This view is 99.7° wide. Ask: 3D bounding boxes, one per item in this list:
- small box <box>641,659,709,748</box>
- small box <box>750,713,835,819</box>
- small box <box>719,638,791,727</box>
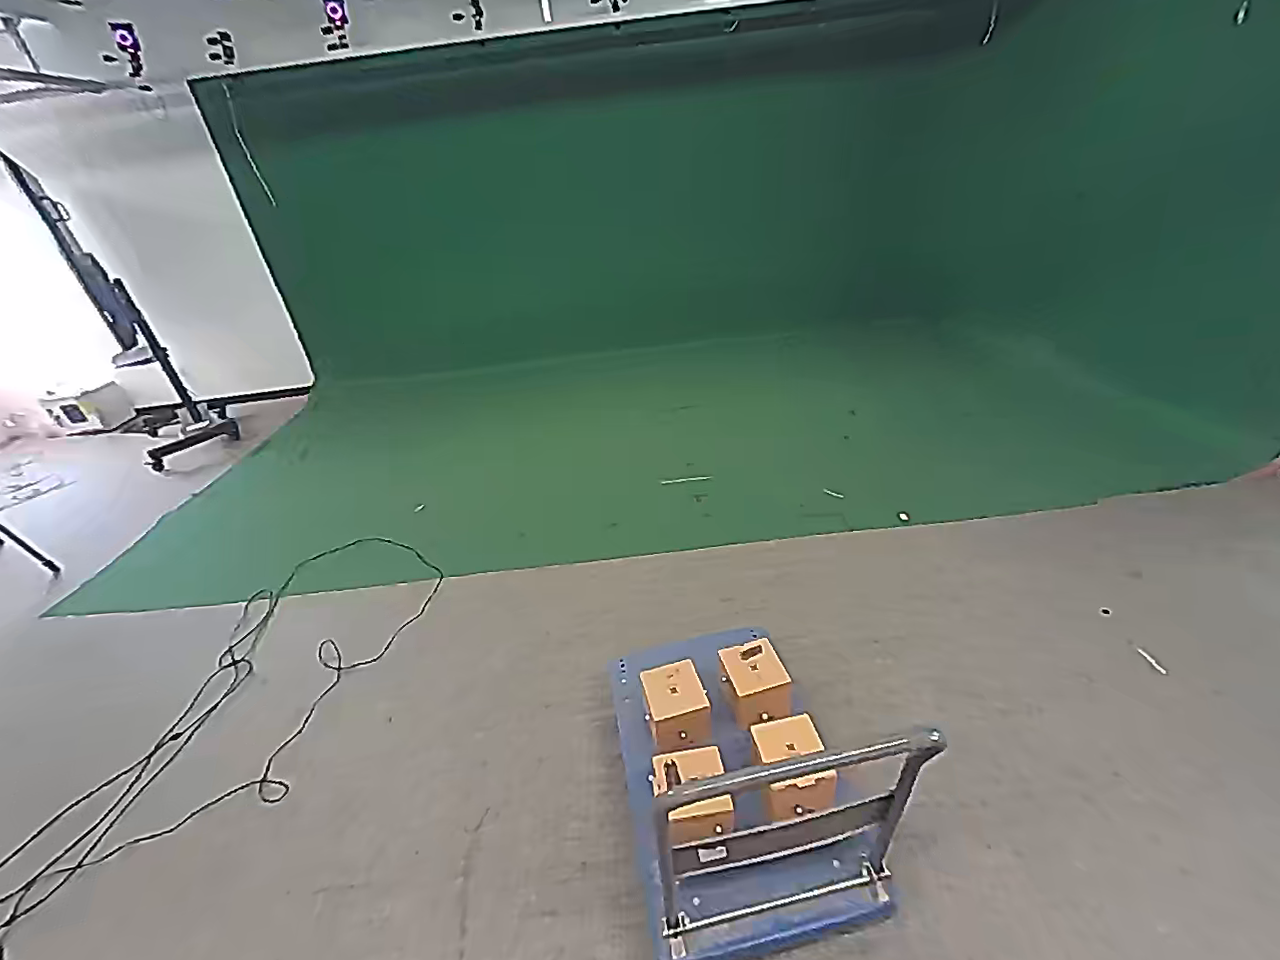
[{"bbox_3d":[0.107,0.680,1.634,0.168,0.176,0.179,-12,32,-9],"label":"small box"},{"bbox_3d":[0.398,0.763,1.445,0.168,0.176,0.179,-10,32,-5],"label":"small box"},{"bbox_3d":[0.350,0.626,1.673,0.168,0.176,0.179,-13,33,-8],"label":"small box"}]
